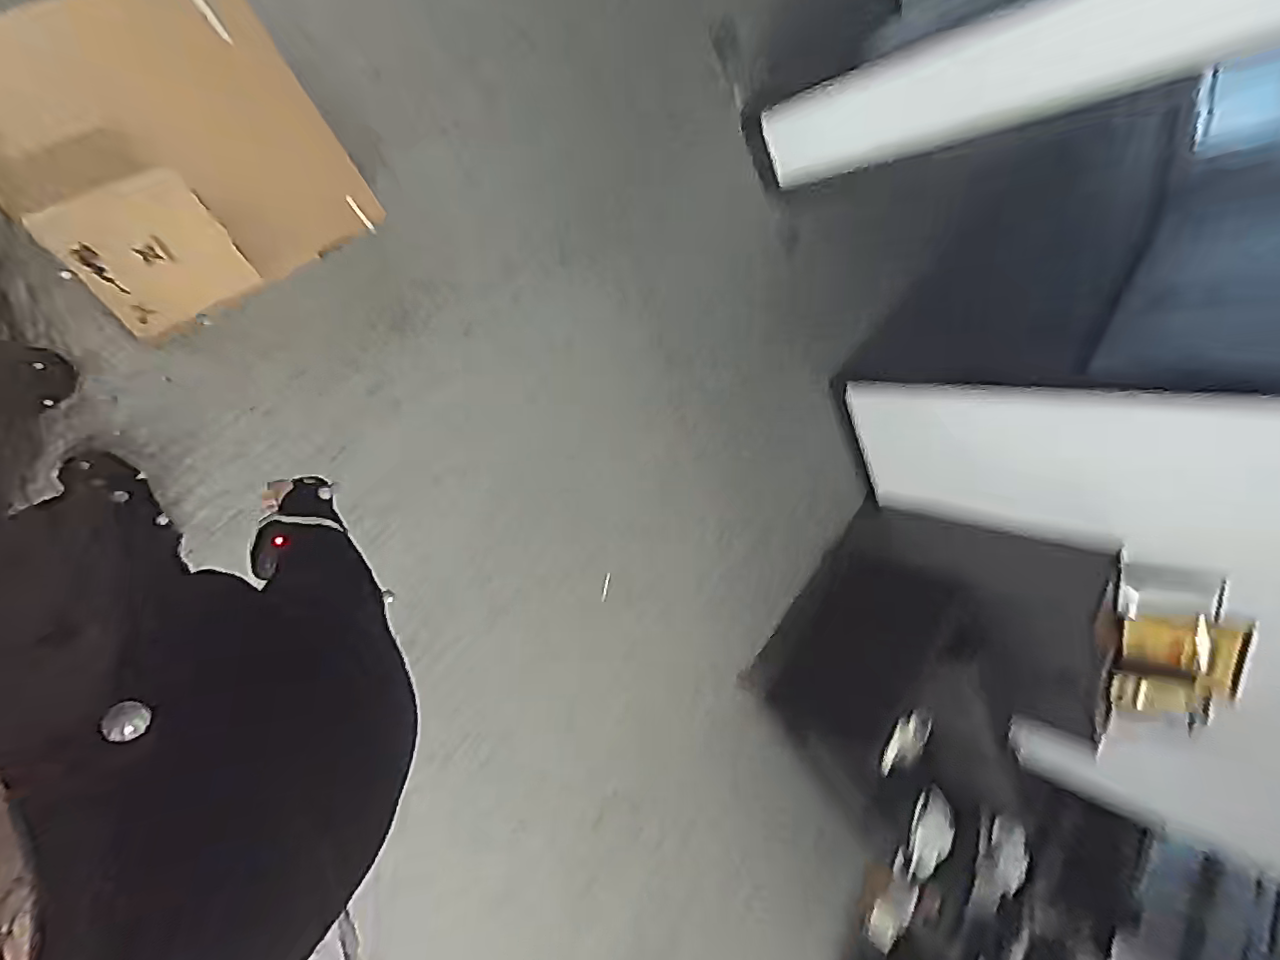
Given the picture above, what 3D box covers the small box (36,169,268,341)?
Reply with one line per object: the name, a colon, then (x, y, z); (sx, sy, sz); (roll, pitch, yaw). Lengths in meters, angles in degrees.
small box: (-0.685, -0.313, 0.773); (0.179, 0.176, 0.168); (-43, 125, -27)
